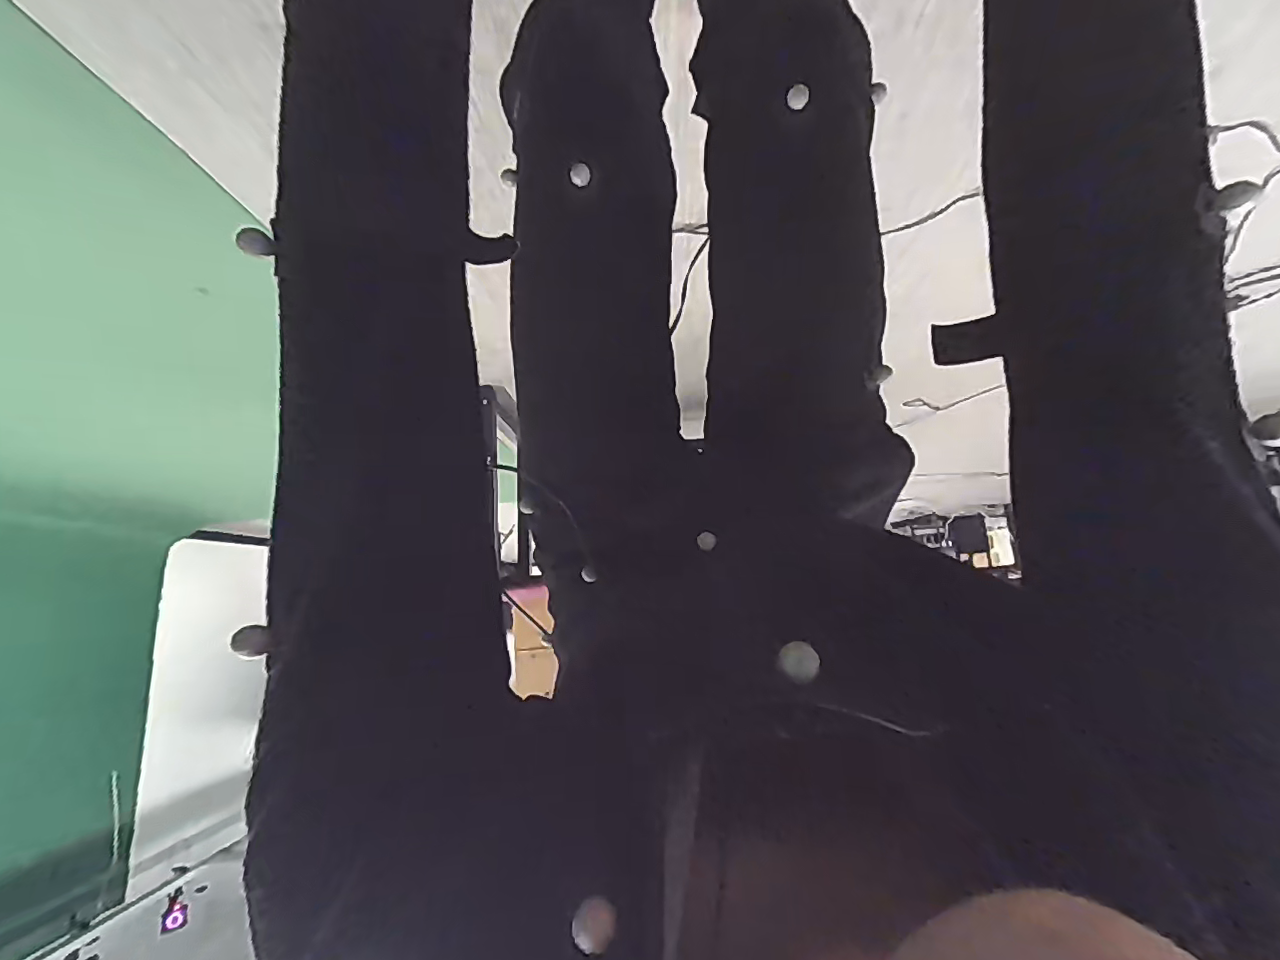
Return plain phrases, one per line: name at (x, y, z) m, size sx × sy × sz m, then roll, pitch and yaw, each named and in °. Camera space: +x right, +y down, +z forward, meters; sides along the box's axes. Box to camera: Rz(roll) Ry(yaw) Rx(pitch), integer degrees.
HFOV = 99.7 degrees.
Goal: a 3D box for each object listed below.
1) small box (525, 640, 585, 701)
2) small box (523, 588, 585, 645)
small box at (-0.277, 0.617, 1.781) m, size 0.168 × 0.176 × 0.179 m, roll -6°, pitch 168°, yaw 2°
small box at (-0.286, 0.456, 1.812) m, size 0.179 × 0.176 × 0.168 m, roll -6°, pitch 168°, yaw 3°
